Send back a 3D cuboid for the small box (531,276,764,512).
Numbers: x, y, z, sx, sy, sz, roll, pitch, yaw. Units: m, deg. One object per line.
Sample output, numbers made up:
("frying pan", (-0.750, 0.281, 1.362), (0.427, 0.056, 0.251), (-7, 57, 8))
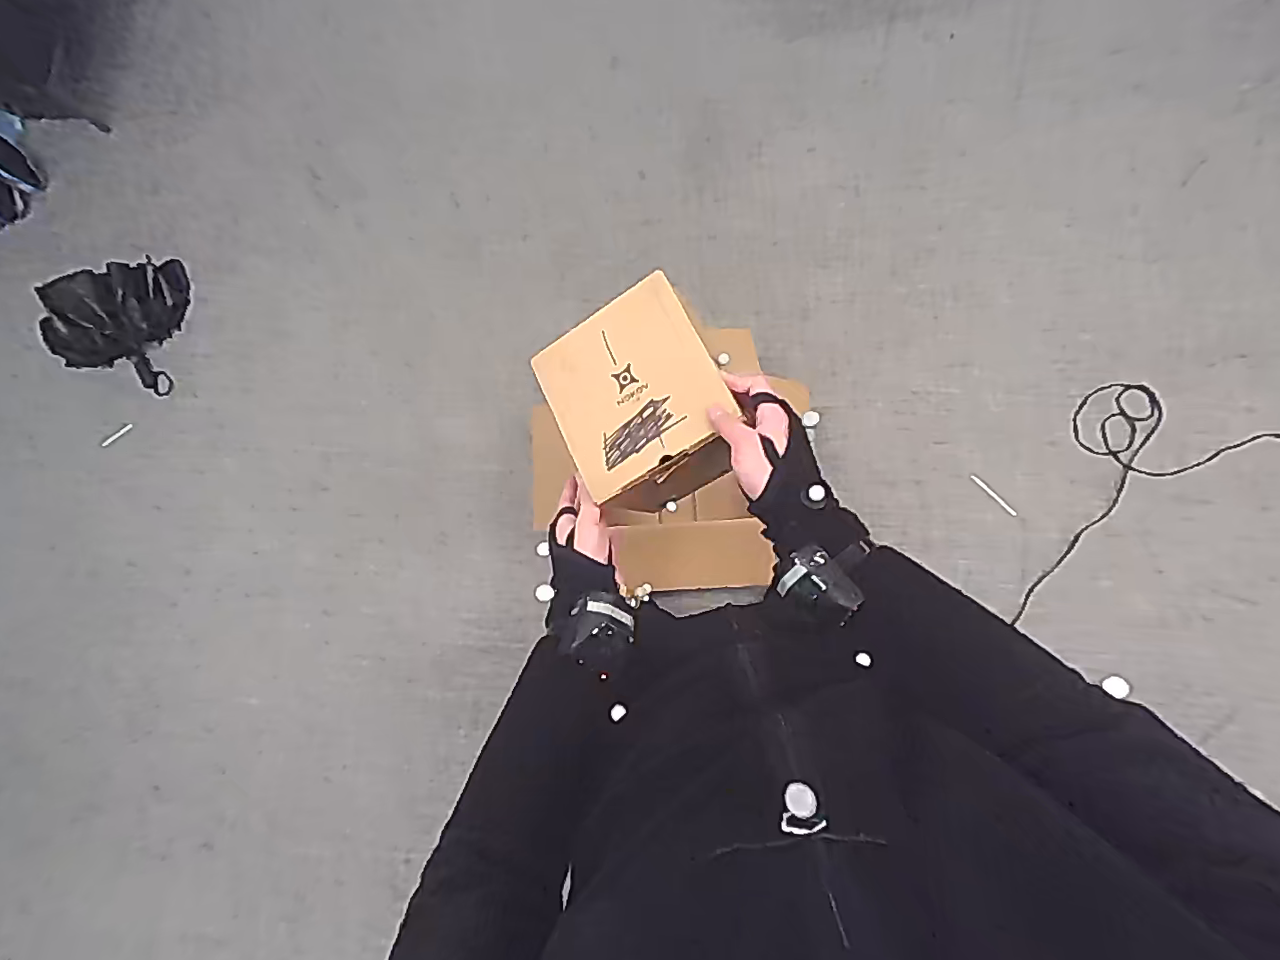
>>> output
("small box", (0.018, -0.076, 0.590), (0.168, 0.176, 0.179), (-31, 73, 15))
